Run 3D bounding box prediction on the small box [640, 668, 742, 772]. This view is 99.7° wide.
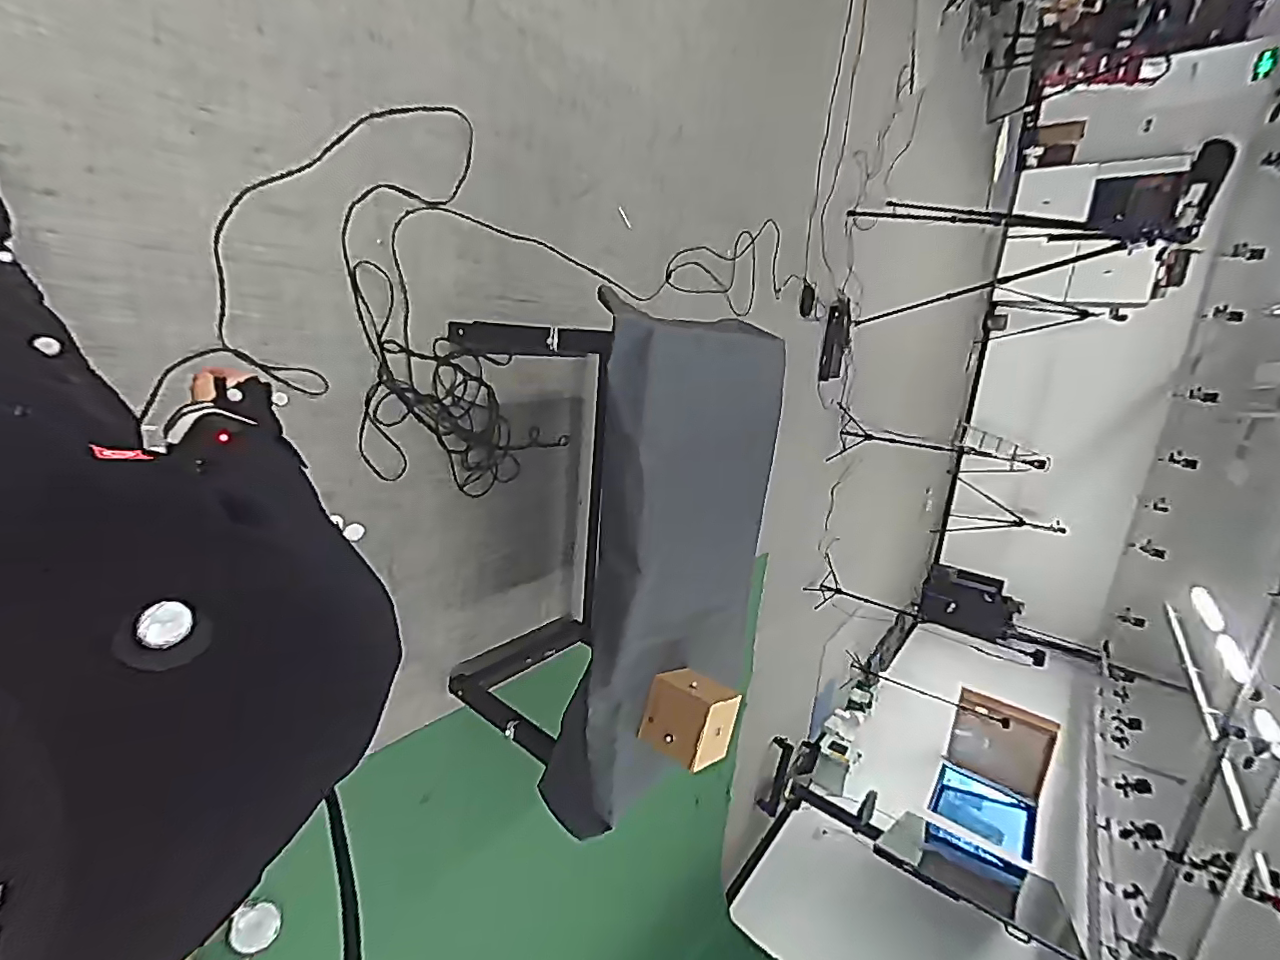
[{"bbox_3d":[0.125,0.587,1.346,0.179,0.176,0.168,17,89,-55],"label":"small box"}]
